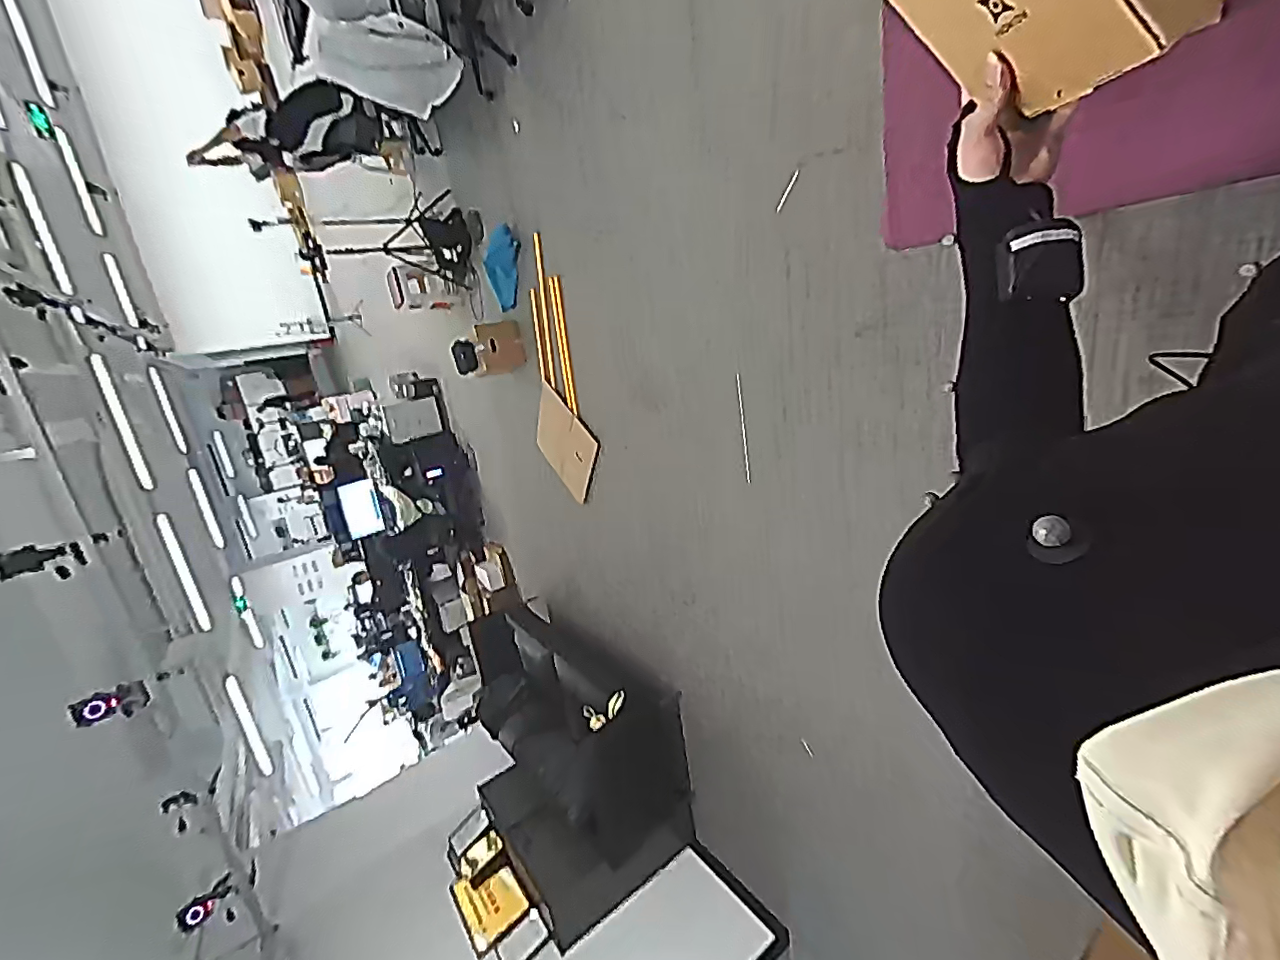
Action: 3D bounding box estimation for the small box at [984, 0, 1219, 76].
[{"bbox_3d":[0.496,-0.572,0.576,0.168,0.176,0.179,13,117,54],"label":"small box"}]
